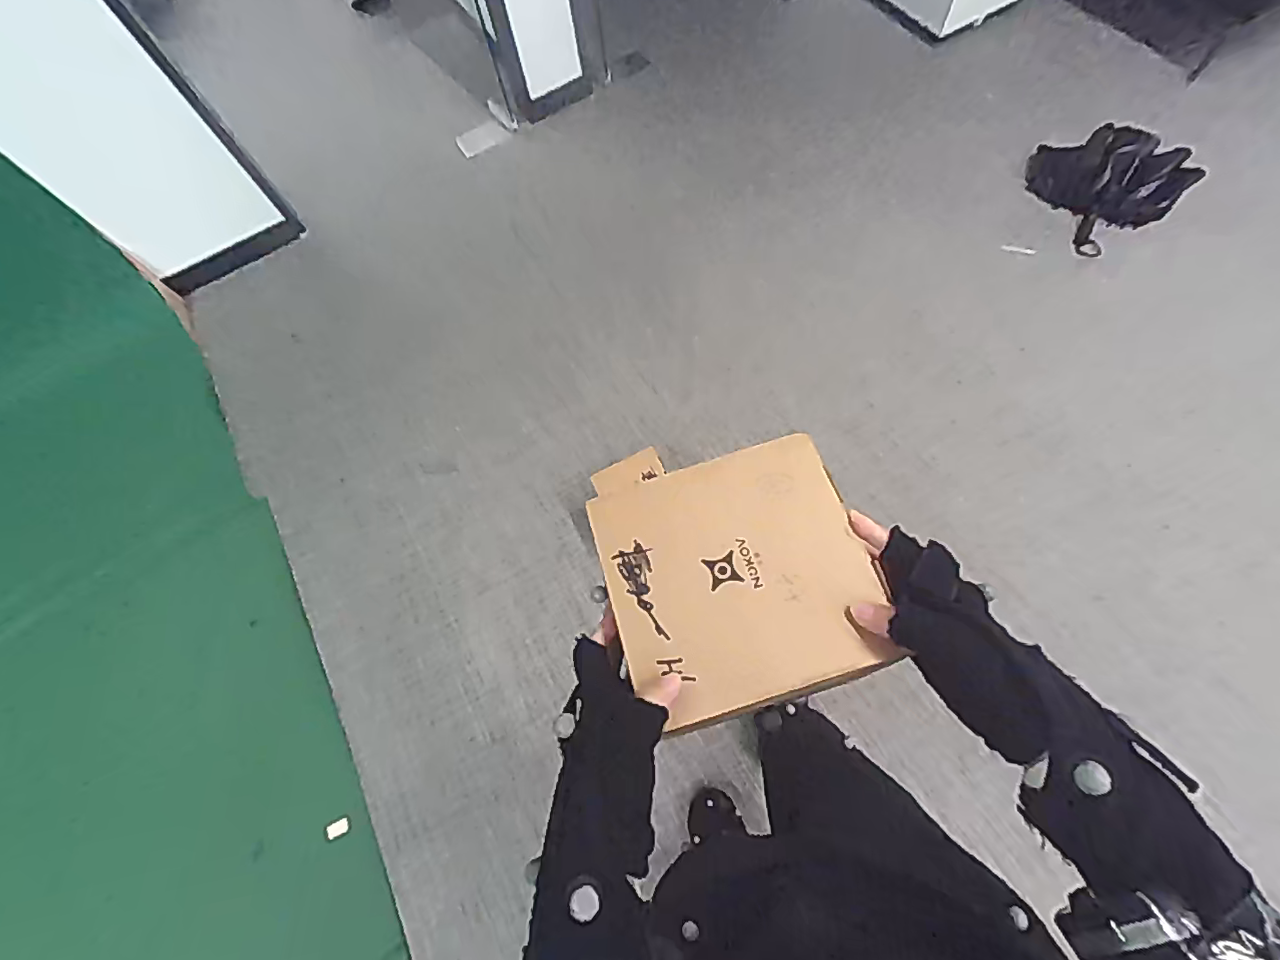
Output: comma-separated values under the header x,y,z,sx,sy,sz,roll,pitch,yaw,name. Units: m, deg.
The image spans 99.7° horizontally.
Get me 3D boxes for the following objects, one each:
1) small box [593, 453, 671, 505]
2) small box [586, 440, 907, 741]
x,y,z,sx,sy,sz,roll,pitch,yaw,name
0.002,0.063,1.365,0.179,0.176,0.168,-26,67,-4,small box
0.074,0.099,0.443,0.179,0.176,0.168,-20,63,-1,small box
